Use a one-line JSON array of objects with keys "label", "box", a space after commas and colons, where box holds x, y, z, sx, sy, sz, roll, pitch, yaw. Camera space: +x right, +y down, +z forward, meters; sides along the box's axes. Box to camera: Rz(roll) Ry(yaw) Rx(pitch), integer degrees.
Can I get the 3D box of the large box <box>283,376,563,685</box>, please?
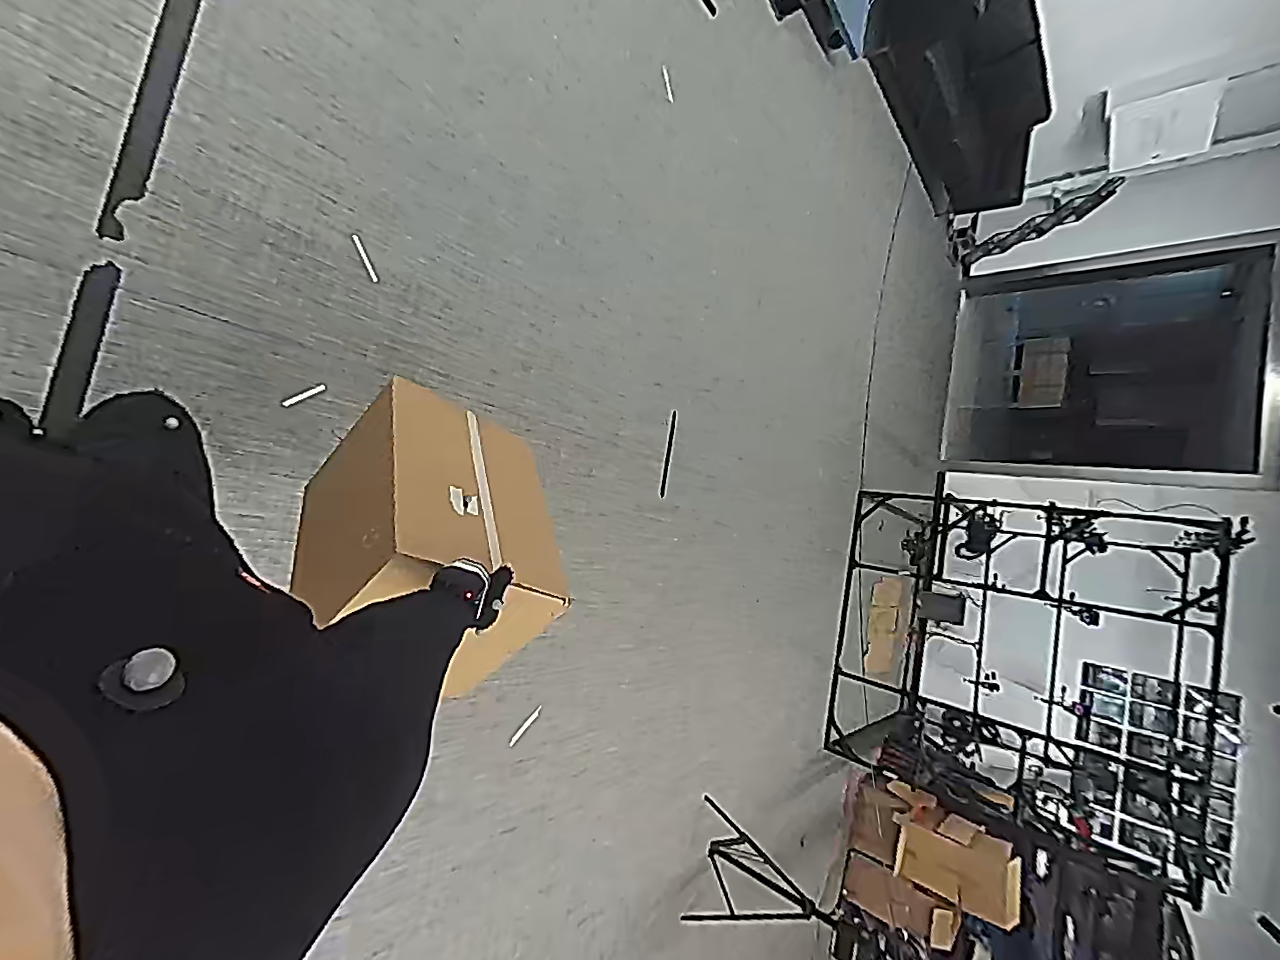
[{"label": "large box", "box": [-0.393, 0.099, 0.979, 0.320, 0.320, 0.408, 29, 28, -44]}]
